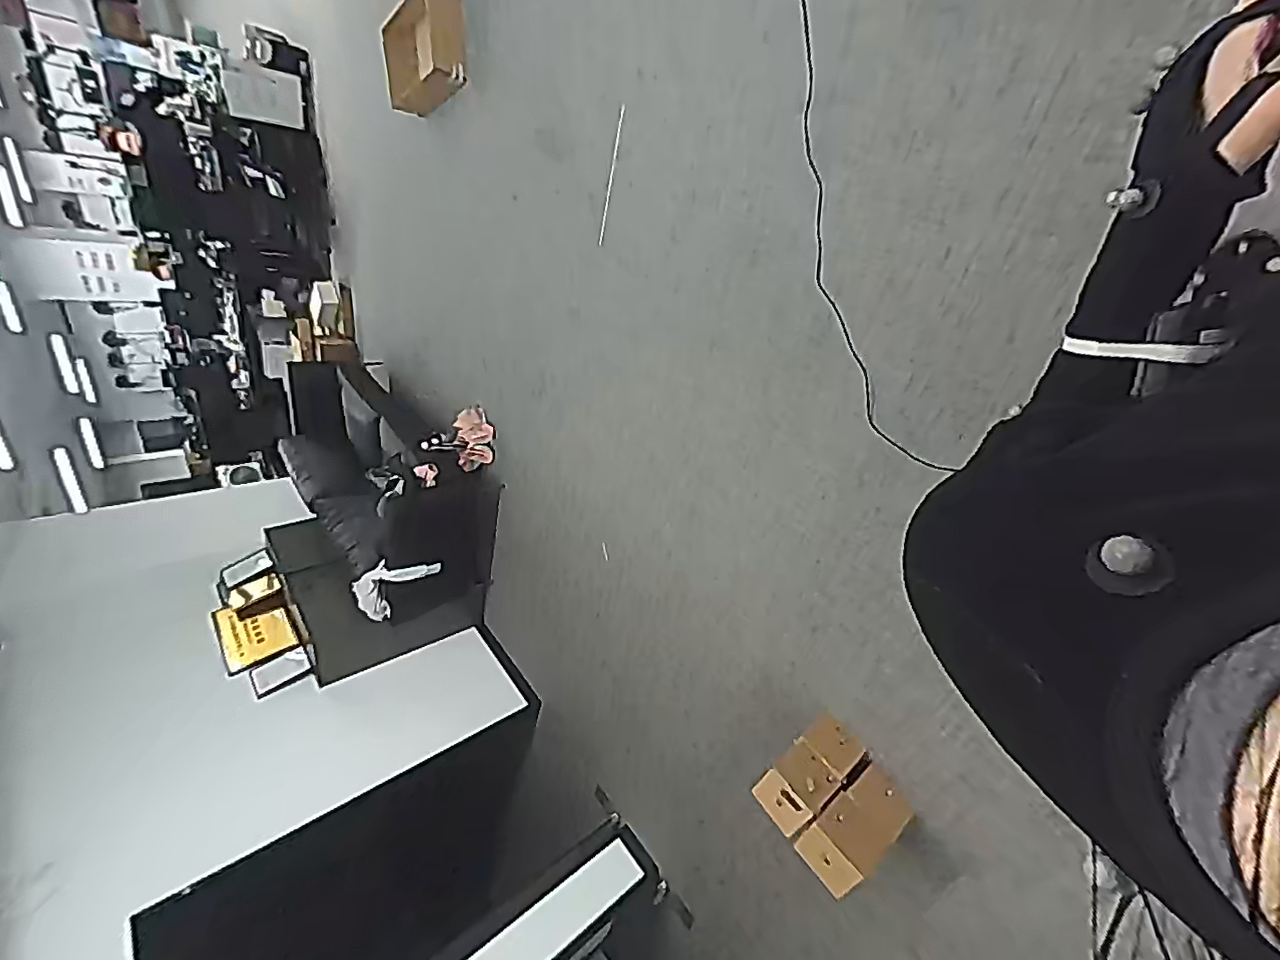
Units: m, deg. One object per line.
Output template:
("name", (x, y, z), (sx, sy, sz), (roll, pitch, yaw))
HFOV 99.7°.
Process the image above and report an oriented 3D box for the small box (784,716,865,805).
("small box", (0.626, 0.941, 1.827), (0.168, 0.176, 0.179), (40, 127, 35))
